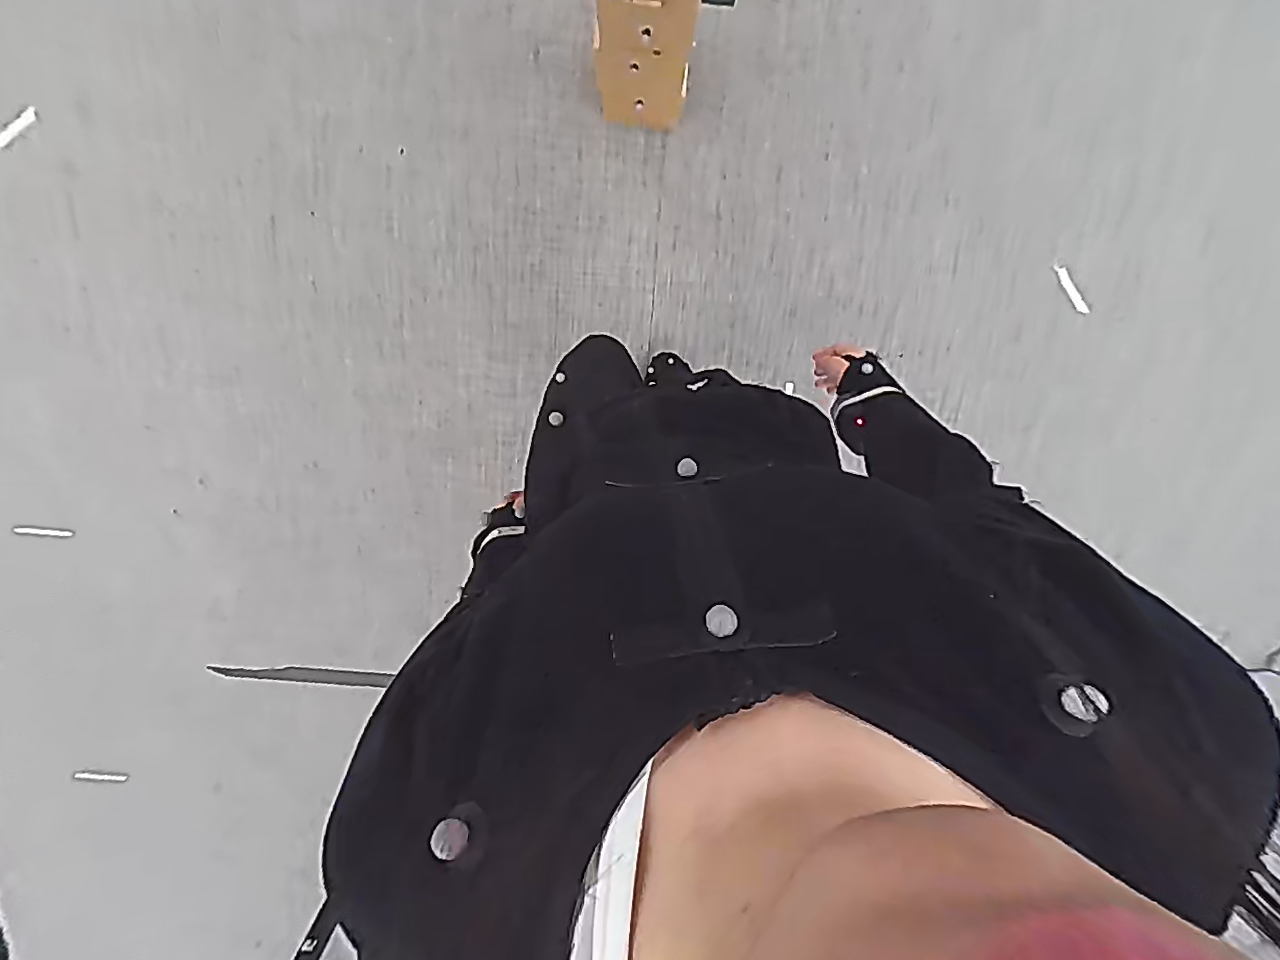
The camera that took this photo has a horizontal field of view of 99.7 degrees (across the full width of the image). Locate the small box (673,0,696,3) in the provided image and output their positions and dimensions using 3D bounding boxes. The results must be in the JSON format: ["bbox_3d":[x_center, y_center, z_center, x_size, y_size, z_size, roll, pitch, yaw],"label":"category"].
[{"bbox_3d":[0.019,-0.788,0.719,0.168,0.176,0.179,6,103,-2],"label":"small box"}]

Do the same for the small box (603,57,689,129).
[{"bbox_3d":[0.013,-0.903,1.197,0.179,0.176,0.168,5,104,-2],"label":"small box"}]

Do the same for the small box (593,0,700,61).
[{"bbox_3d":[0.020,-0.825,0.879,0.168,0.176,0.179,6,104,-2],"label":"small box"}]

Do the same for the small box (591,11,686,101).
[{"bbox_3d":[0.008,-0.861,1.038,0.179,0.176,0.168,7,104,-2],"label":"small box"}]
